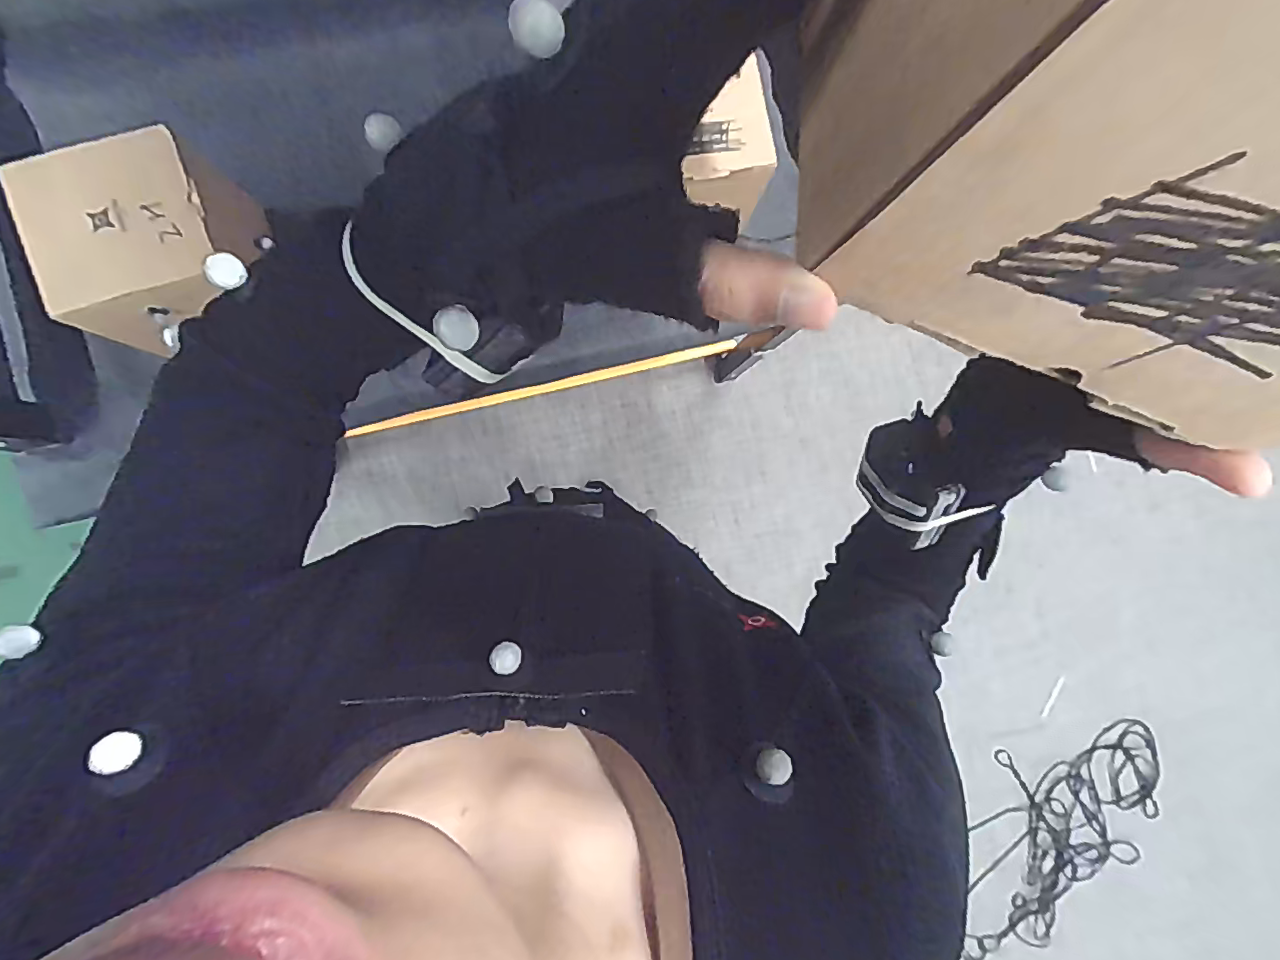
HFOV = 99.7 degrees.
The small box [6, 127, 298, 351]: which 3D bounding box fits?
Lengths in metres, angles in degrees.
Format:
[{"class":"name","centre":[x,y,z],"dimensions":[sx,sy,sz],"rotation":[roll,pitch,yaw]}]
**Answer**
[{"class":"small box","centre":[-0.559,-0.271,0.648],"dimensions":[0.179,0.176,0.168],"rotation":[-19,91,-7]}]
